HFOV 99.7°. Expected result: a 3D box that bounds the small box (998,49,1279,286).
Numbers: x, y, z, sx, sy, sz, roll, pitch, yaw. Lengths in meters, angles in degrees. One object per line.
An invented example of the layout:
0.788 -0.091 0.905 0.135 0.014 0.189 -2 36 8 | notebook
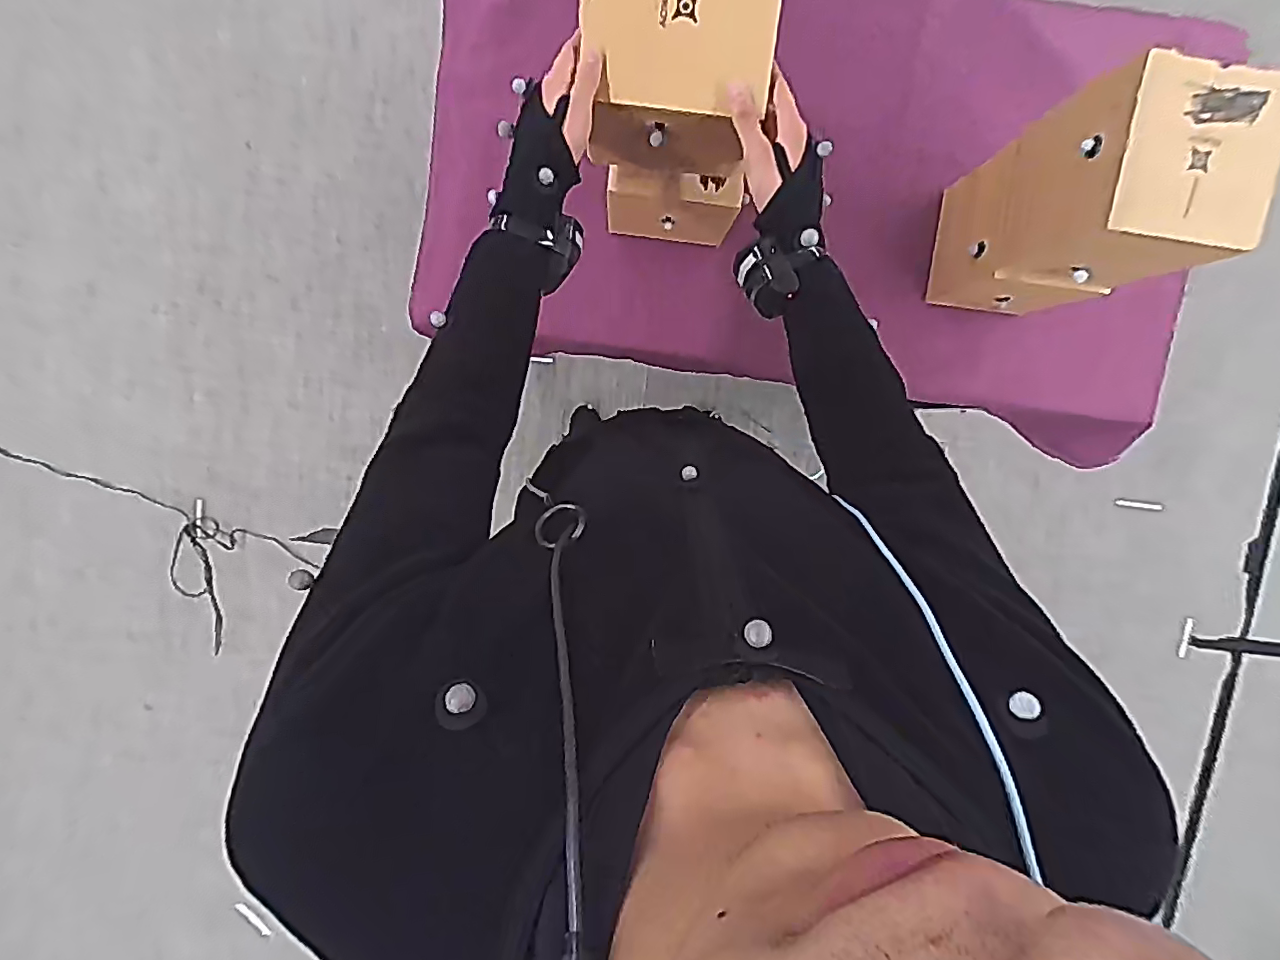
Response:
0.563 -0.345 0.633 0.168 0.176 0.179 8 98 -3 | small box

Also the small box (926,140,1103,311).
0.553 -0.358 0.797 0.168 0.176 0.179 7 97 -4 | small box

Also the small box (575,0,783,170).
0.037 -0.433 0.547 0.179 0.176 0.168 7 104 -1 | small box
